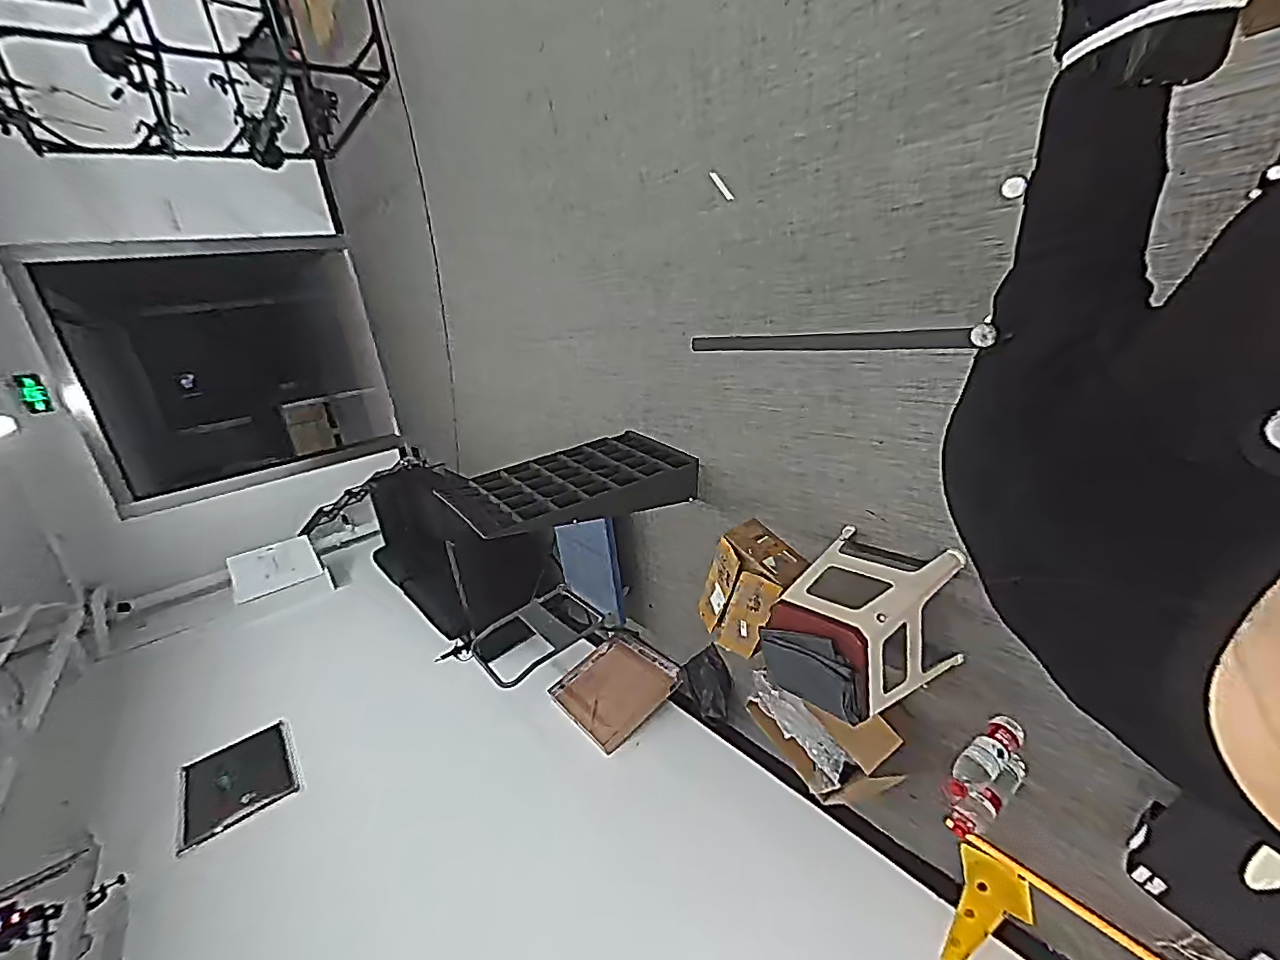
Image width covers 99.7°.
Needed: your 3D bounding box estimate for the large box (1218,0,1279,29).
[{"bbox_3d":[0.558,-0.489,0.235,0.408,0.320,0.320,11,121,48],"label":"large box"}]
